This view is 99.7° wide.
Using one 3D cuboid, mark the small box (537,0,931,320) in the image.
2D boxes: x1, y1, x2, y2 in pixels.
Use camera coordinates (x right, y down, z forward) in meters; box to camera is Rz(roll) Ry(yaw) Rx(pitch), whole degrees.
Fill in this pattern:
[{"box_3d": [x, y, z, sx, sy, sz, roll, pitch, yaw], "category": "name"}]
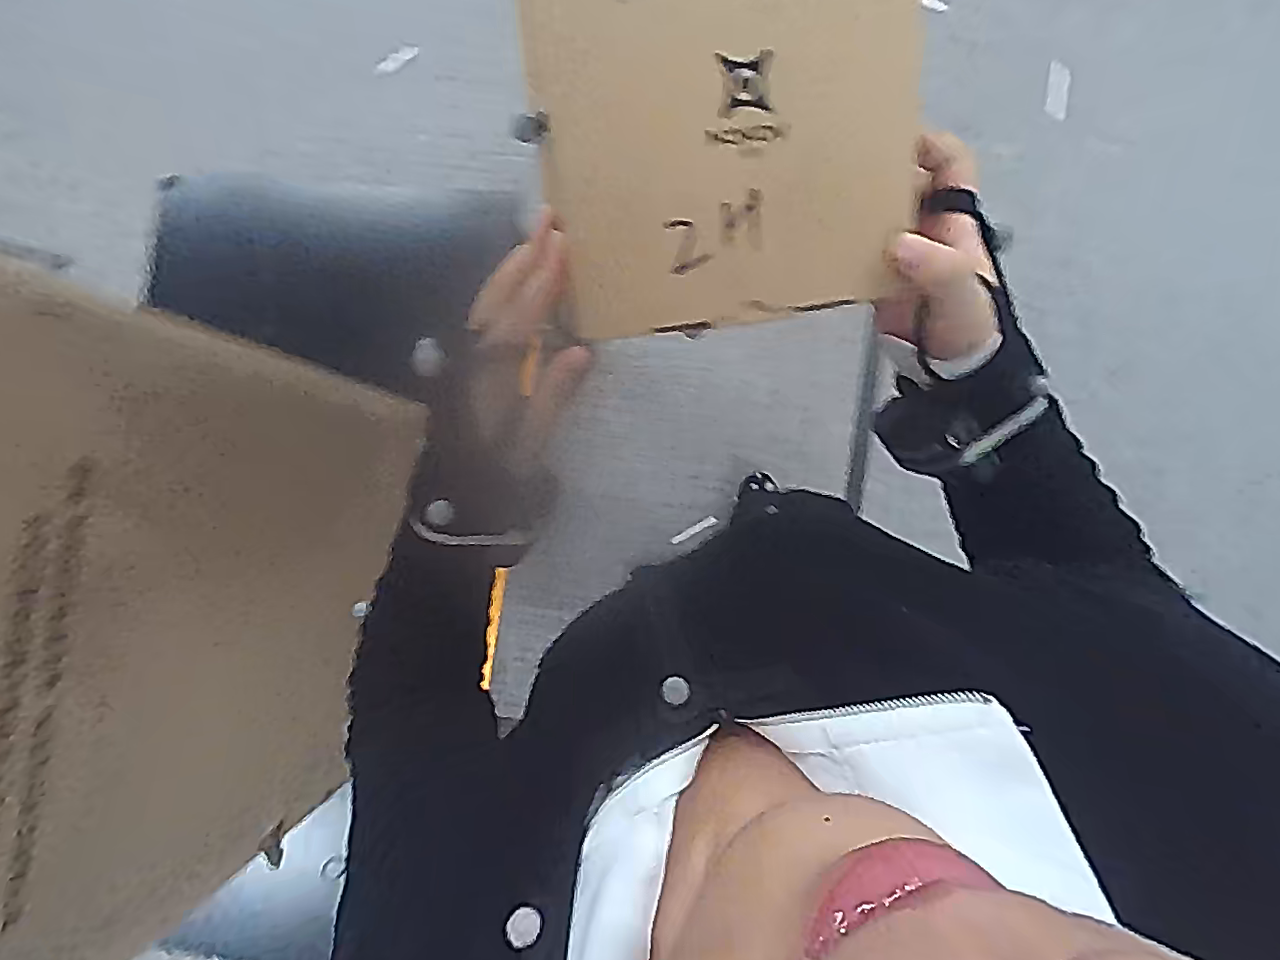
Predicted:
[{"box_3d": [0.035, -0.193, 0.310, 0.168, 0.176, 0.179, -9, 111, -7], "category": "small box"}]
